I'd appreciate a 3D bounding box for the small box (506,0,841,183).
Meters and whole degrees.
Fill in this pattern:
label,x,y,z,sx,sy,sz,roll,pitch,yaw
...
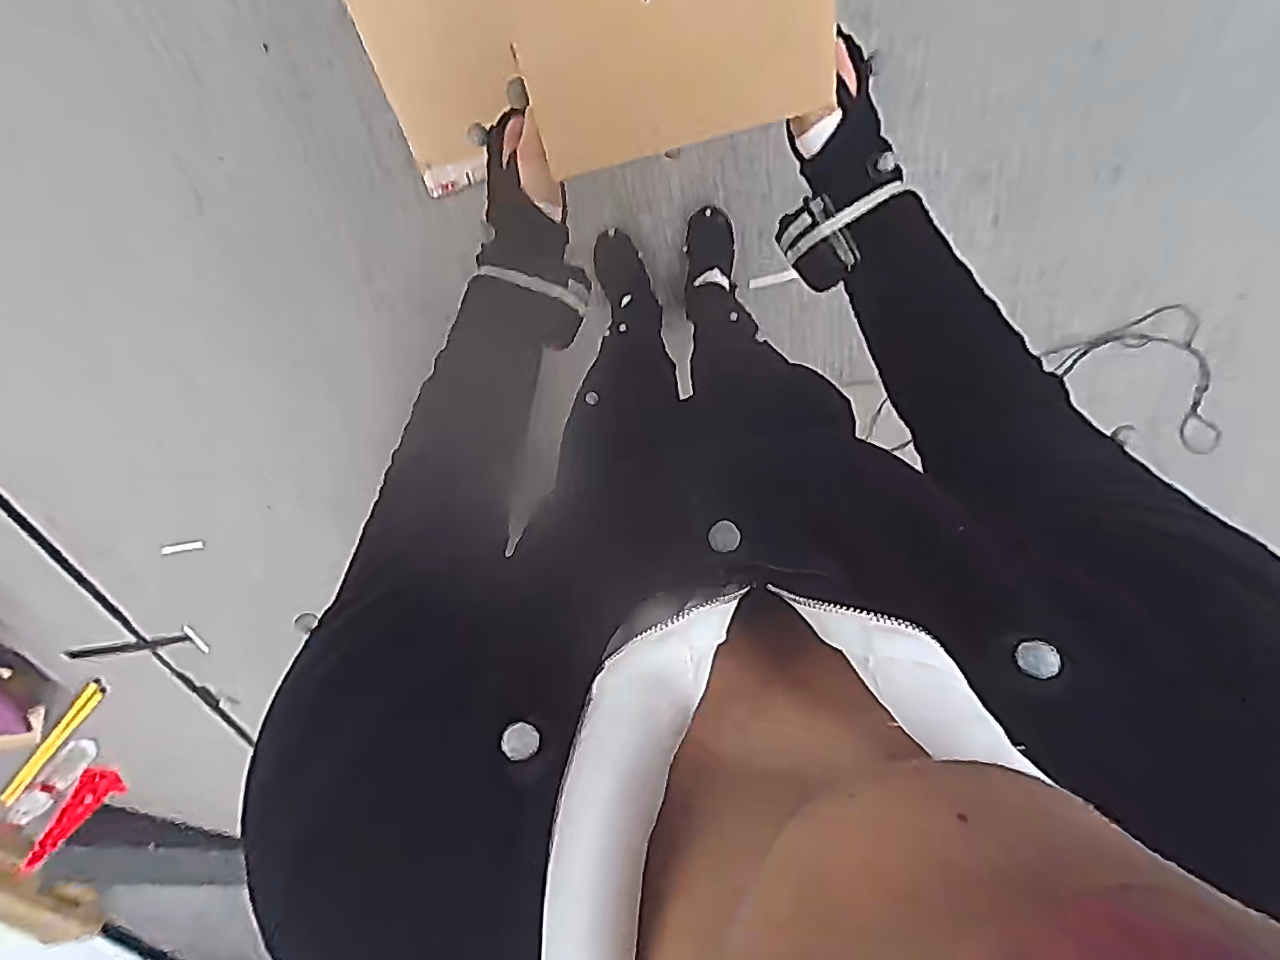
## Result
label,x,y,z,sx,sy,sz,roll,pitch,yaw
small box,0.011,-0.302,0.316,0.168,0.176,0.179,-11,127,6
